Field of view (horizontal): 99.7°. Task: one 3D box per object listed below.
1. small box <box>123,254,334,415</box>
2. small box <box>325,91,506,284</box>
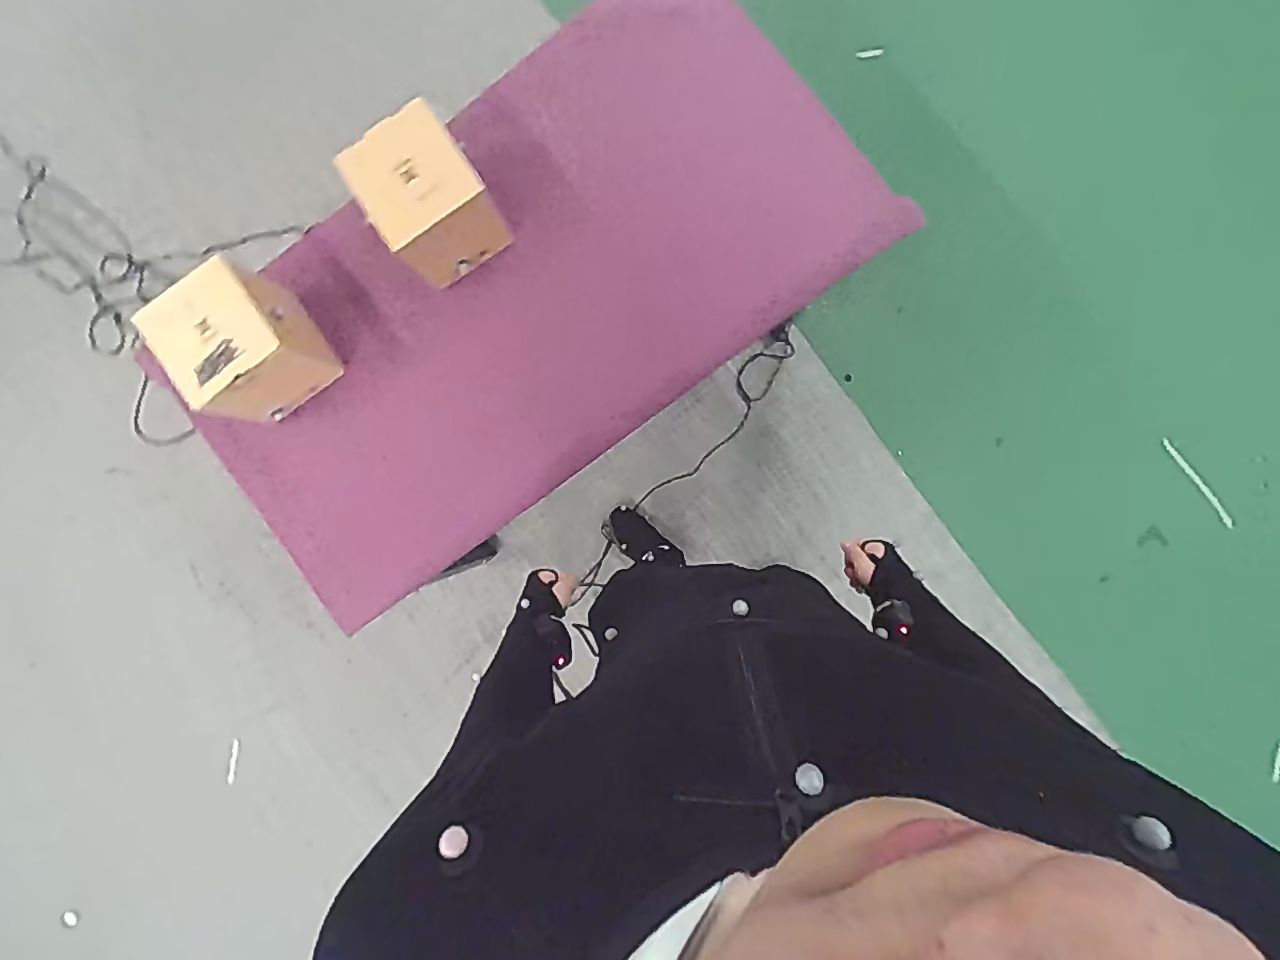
[{"bbox_3d":[-0.642,-0.217,0.870,0.168,0.176,0.179,-36,89,1],"label":"small box"},{"bbox_3d":[-0.345,-0.451,0.865,0.168,0.176,0.179,-34,90,2],"label":"small box"}]
